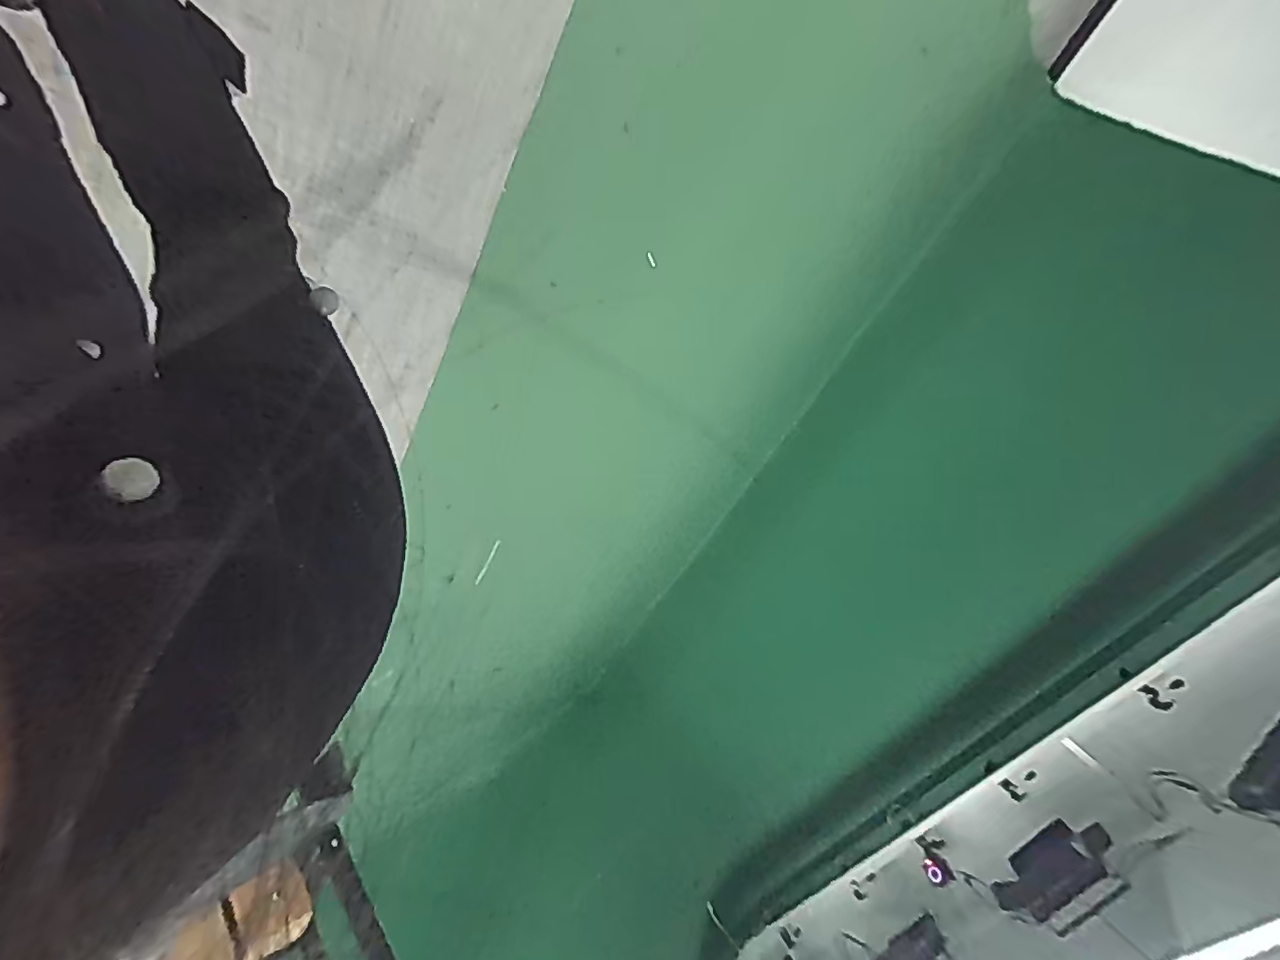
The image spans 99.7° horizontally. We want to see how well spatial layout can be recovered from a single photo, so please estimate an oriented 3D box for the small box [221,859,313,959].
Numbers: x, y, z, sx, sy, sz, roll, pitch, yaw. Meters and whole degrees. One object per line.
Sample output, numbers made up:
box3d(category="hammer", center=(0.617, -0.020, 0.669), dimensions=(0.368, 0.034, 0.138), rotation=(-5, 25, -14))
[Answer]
box3d(category="small box", center=(-1.086, 1.252, 1.569), dimensions=(0.168, 0.176, 0.179), rotation=(-4, 134, -53))
